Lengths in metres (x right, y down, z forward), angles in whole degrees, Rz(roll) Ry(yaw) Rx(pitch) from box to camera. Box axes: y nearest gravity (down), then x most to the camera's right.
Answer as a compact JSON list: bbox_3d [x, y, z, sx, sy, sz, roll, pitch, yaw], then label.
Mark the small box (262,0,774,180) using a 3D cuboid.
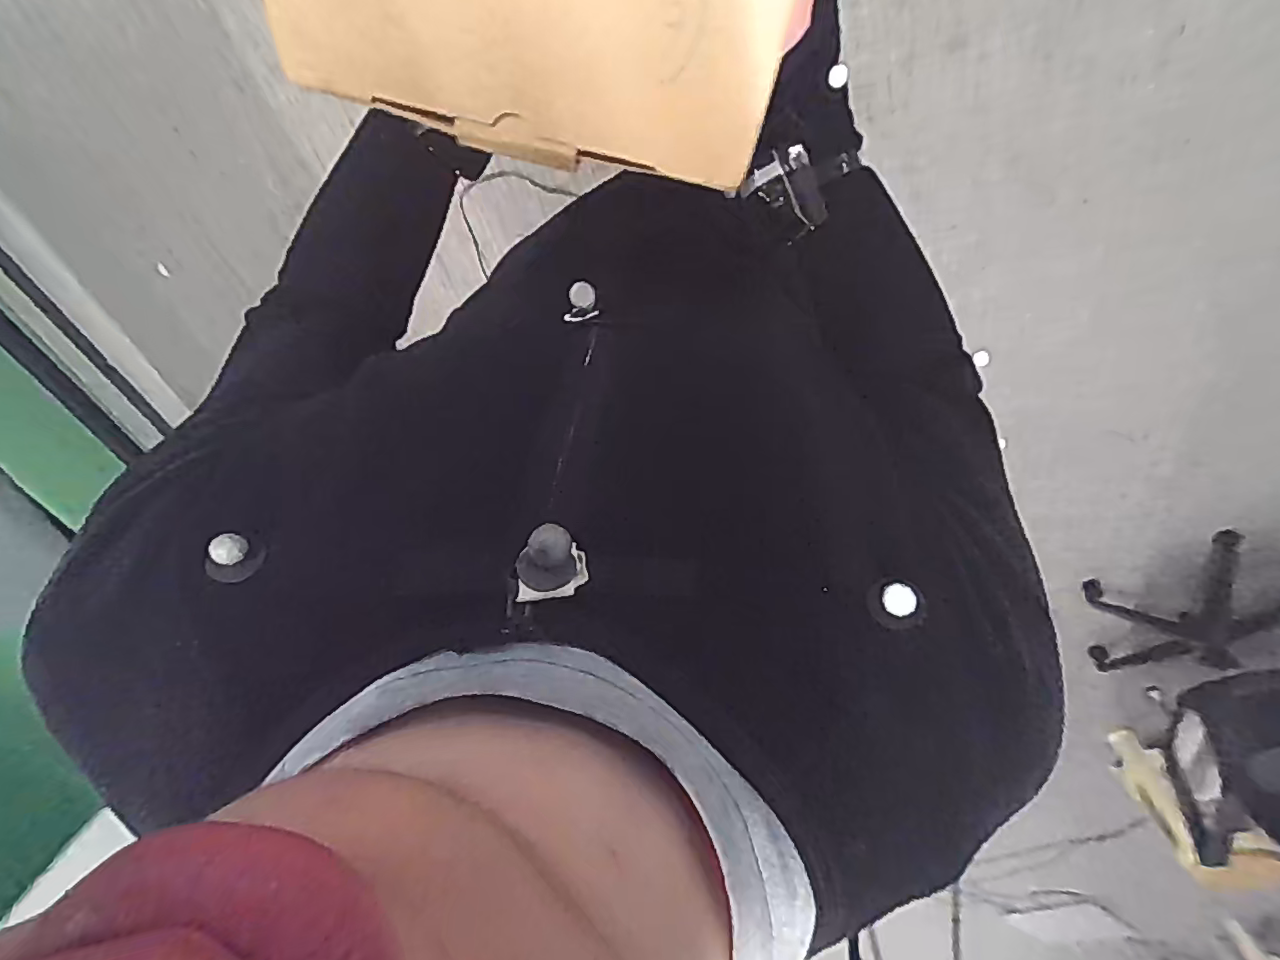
[{"bbox_3d":[-0.019,-0.239,0.182,0.168,0.176,0.179,13,137,-1],"label":"small box"}]
